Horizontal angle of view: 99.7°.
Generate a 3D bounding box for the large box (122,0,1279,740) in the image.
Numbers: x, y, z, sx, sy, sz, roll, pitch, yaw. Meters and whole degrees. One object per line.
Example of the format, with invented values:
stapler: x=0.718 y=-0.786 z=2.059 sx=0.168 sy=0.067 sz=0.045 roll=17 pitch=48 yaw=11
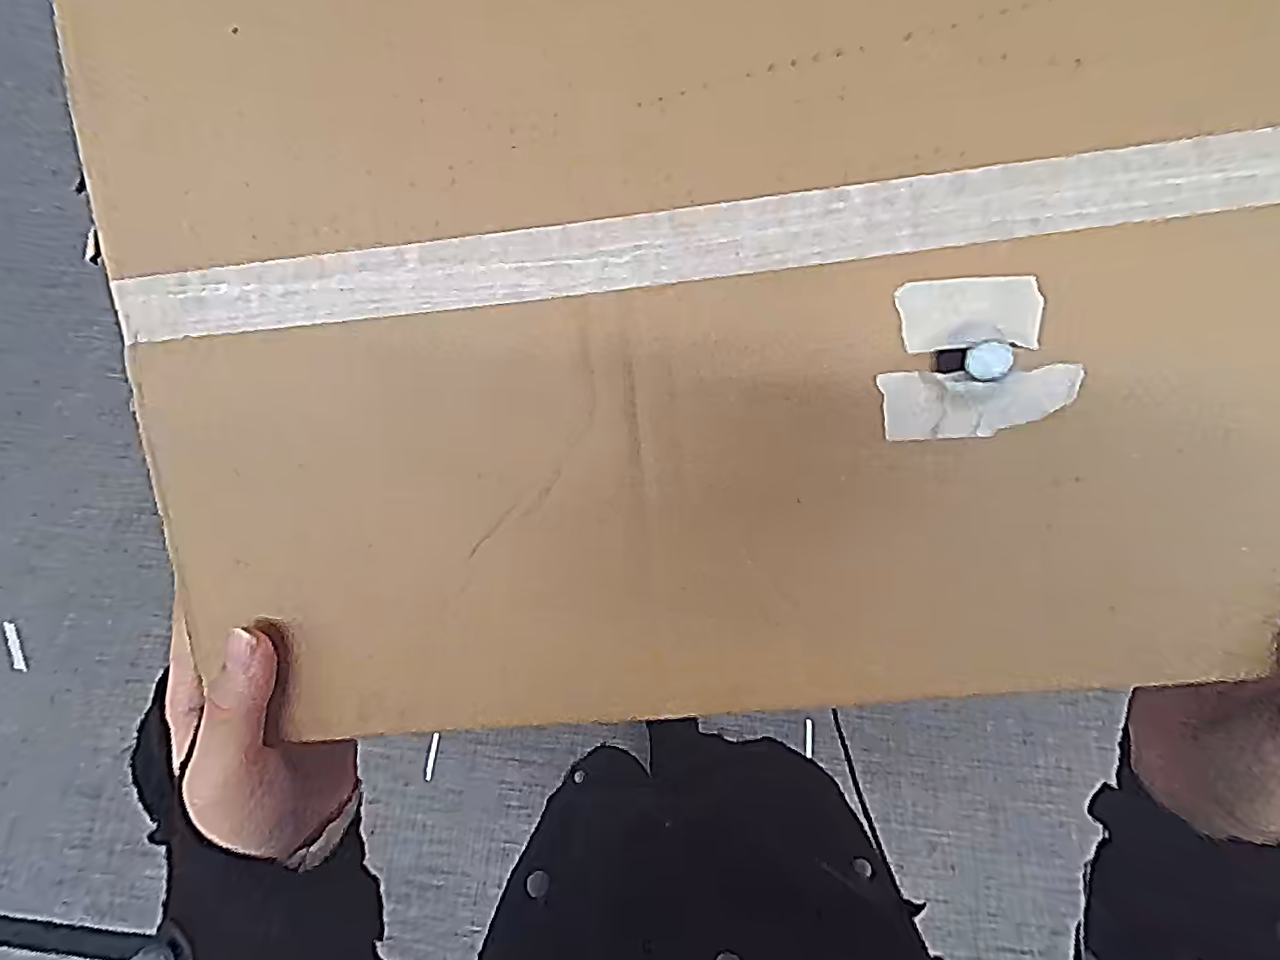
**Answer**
large box: x=0.040 y=-0.088 z=0.328 sx=0.408 sy=0.320 sz=0.320 roll=-6 pitch=97 yaw=3
